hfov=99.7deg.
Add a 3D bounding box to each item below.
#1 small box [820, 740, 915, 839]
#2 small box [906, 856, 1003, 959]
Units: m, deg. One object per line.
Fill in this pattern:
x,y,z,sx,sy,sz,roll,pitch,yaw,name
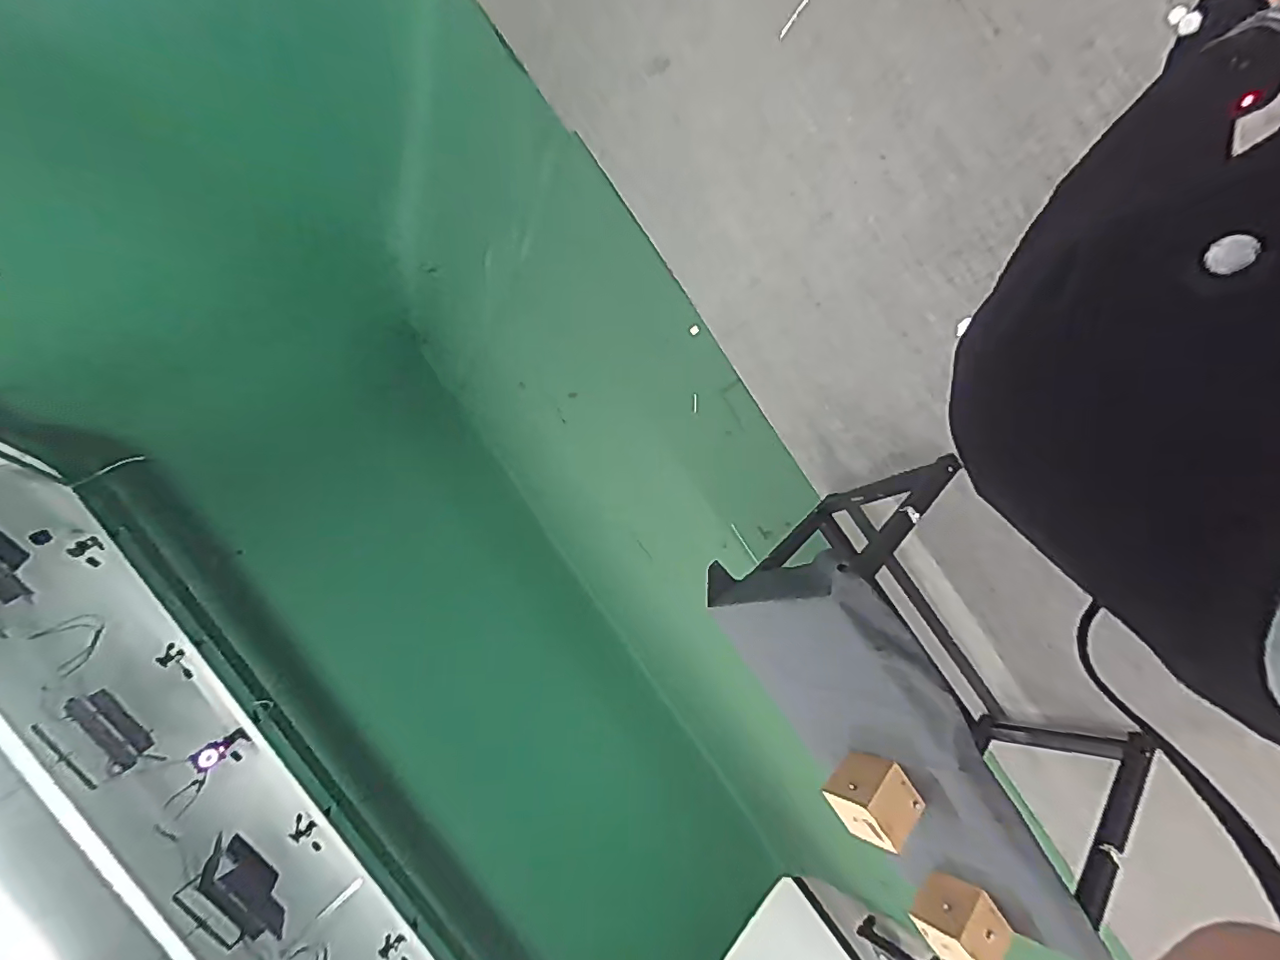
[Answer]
0.679,0.904,1.601,0.168,0.176,0.179,55,152,-4,small box
0.955,1.288,1.631,0.168,0.176,0.179,55,151,-2,small box
